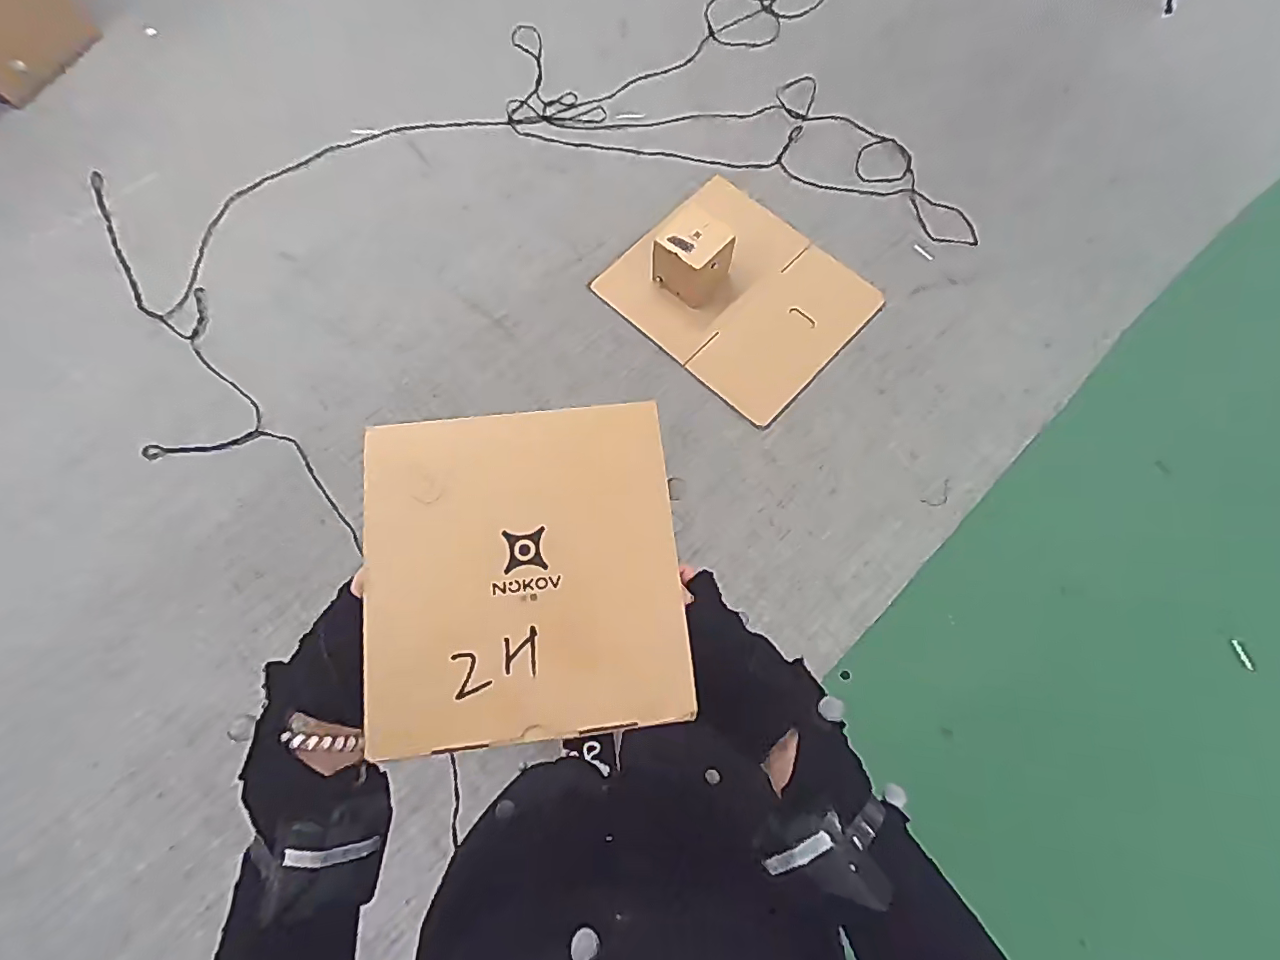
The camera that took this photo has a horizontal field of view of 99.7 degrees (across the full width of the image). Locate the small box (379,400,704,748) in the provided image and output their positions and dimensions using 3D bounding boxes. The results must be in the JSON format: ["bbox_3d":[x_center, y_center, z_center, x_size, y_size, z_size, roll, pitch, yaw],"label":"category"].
[{"bbox_3d":[-0.060,0.061,0.369,0.168,0.176,0.179,-6,78,-4],"label":"small box"}]

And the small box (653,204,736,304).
[{"bbox_3d":[0.155,-0.655,1.585,0.168,0.176,0.179,41,76,12],"label":"small box"}]
